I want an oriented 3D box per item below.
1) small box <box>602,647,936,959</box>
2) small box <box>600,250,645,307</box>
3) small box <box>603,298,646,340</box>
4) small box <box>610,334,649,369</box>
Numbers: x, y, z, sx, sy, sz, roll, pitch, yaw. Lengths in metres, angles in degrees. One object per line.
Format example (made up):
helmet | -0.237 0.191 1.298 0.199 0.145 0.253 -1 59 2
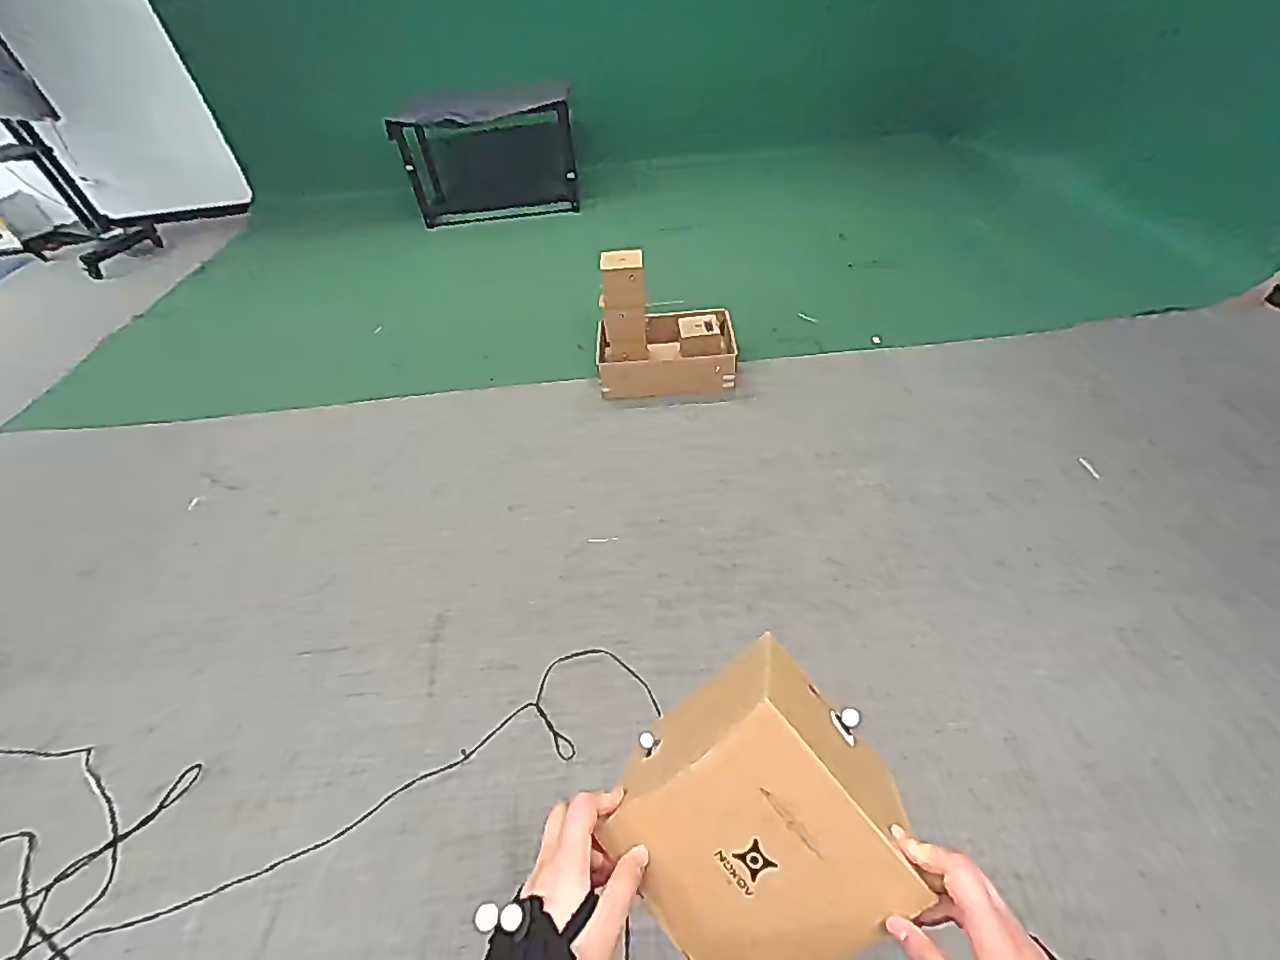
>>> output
small box | 0.102 0.276 0.459 0.179 0.176 0.168 -43 82 10
small box | -0.069 -0.848 2.277 0.179 0.176 0.168 -4 46 2
small box | -0.067 -0.735 2.398 0.179 0.176 0.168 -3 47 2
small box | -0.049 -0.630 2.524 0.168 0.176 0.179 -4 47 2
